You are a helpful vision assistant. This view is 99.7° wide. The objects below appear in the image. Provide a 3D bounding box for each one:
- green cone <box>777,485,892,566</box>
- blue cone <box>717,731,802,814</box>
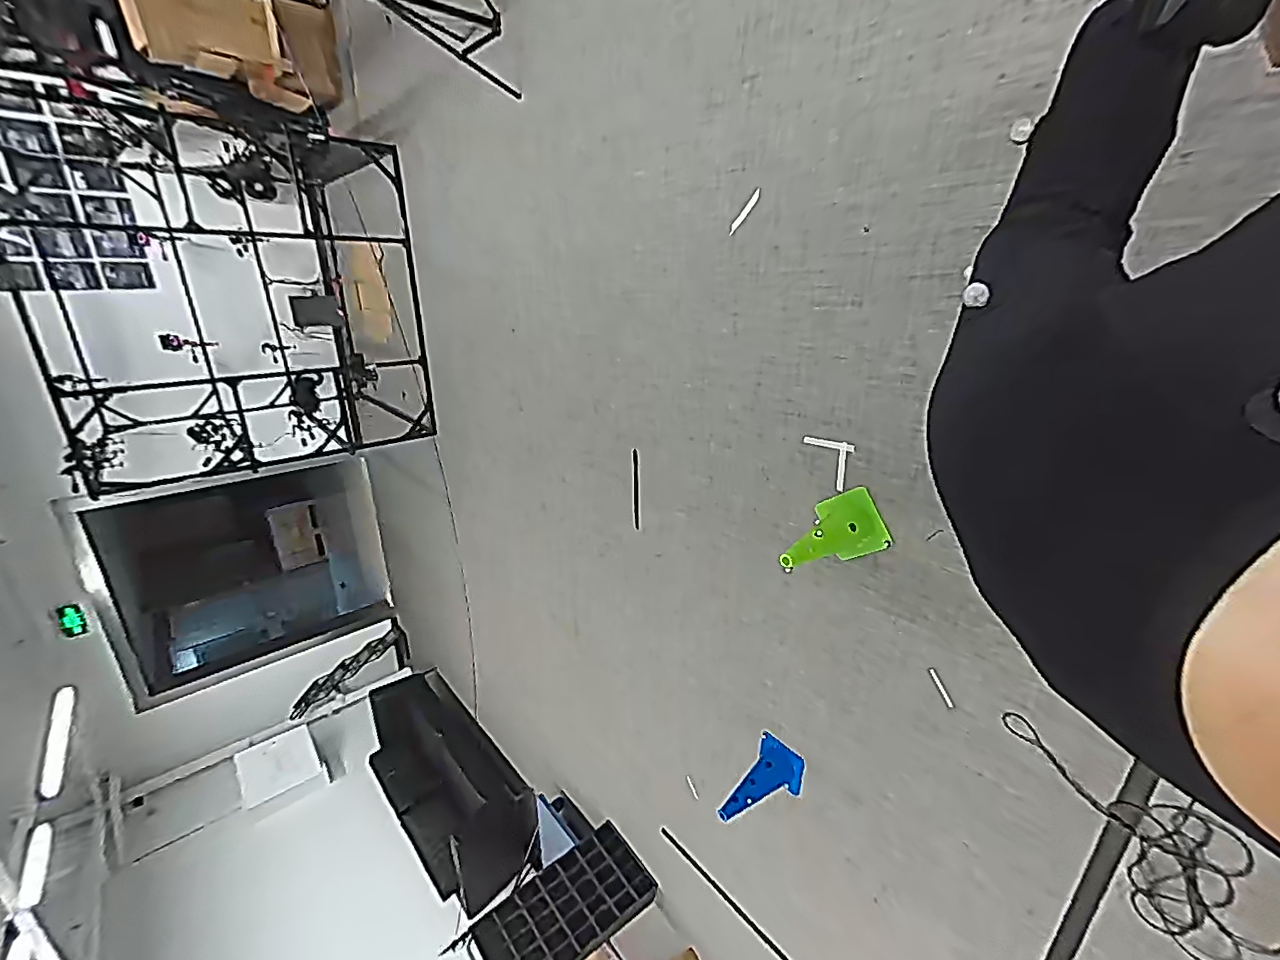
[{"bbox_3d":[0.531,0.171,1.583,0.202,0.368,0.200,-36,75,52],"label":"green cone"},{"bbox_3d":[0.448,1.176,2.097,0.192,0.380,0.193,27,123,44],"label":"blue cone"}]
